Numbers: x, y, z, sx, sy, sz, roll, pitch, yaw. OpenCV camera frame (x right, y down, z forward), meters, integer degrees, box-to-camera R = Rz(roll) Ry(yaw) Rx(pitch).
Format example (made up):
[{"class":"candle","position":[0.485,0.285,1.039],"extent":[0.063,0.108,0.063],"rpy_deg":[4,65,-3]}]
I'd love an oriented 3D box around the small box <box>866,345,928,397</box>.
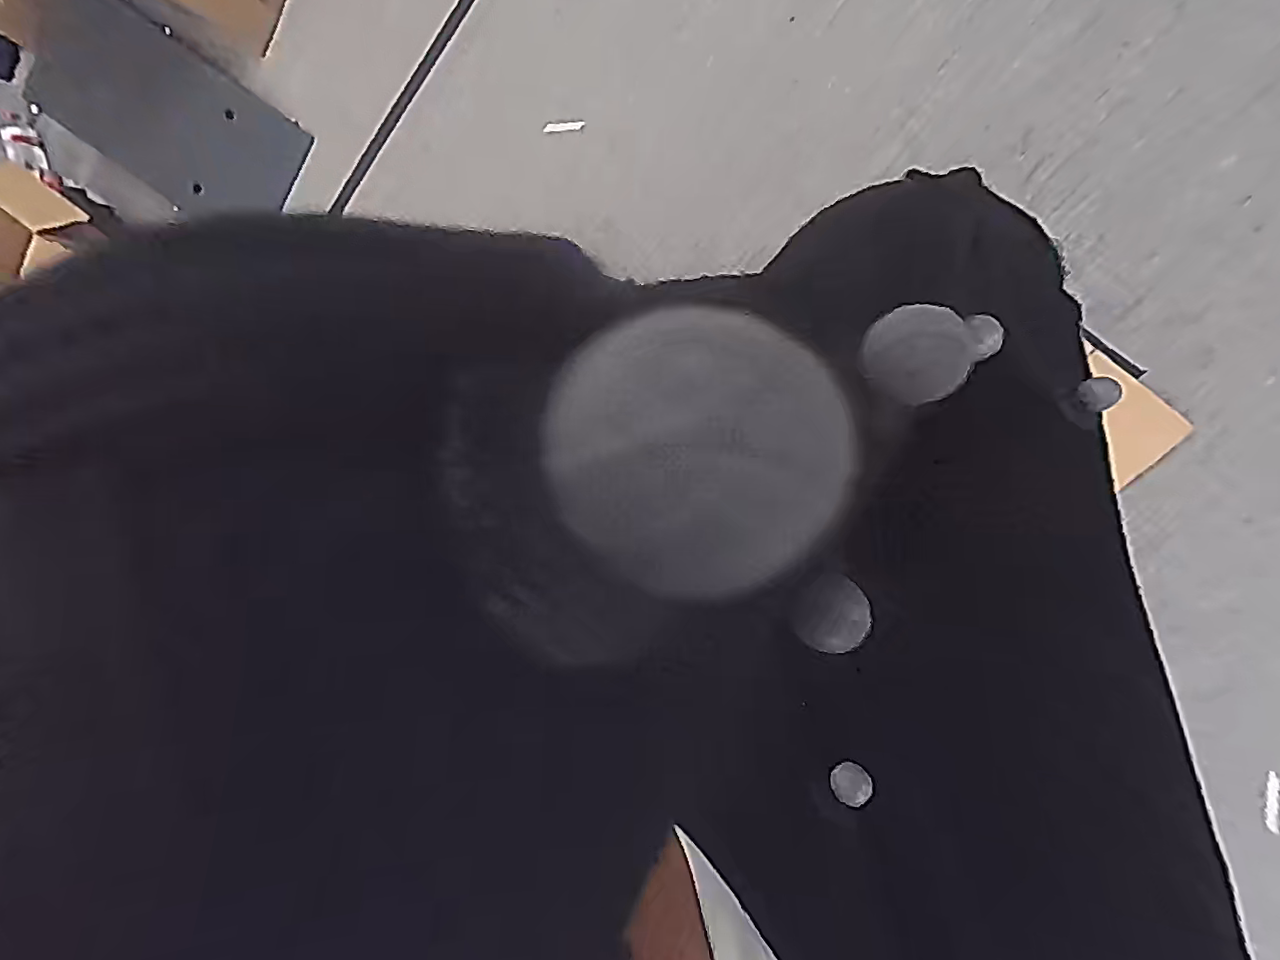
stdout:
[{"class":"small box","position":[0.692,-0.324,1.356],"extent":[0.168,0.176,0.179],"rpy_deg":[46,105,7]}]
